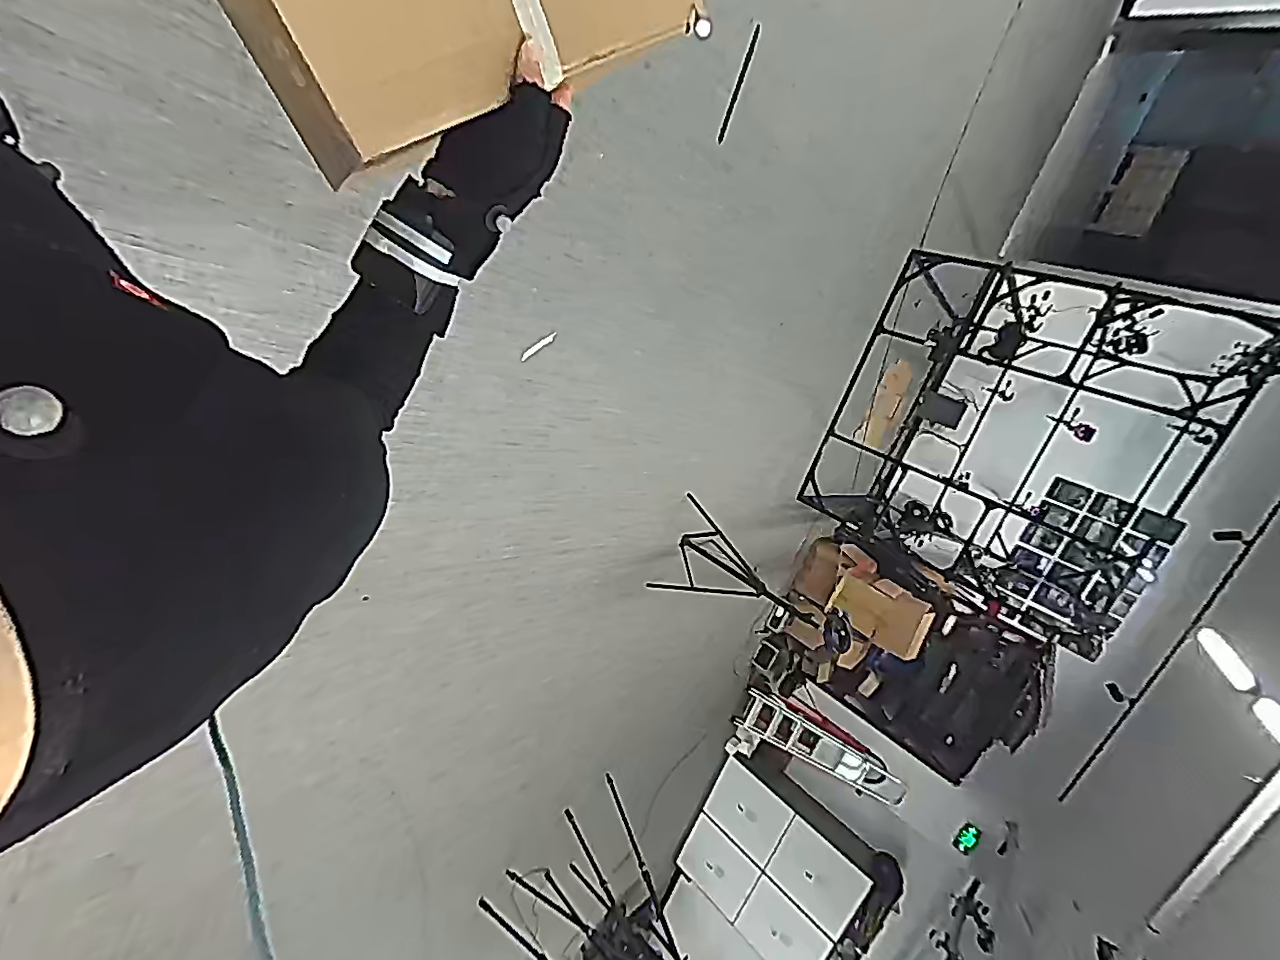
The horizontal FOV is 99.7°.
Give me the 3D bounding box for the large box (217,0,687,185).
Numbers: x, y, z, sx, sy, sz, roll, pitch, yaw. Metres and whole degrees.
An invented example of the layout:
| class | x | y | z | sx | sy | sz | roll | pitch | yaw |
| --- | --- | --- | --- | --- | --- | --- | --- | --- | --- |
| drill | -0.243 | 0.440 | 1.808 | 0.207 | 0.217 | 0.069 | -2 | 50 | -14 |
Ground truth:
| class | x | y | z | sx | sy | sz | roll | pitch | yaw |
| --- | --- | --- | --- | --- | --- | --- | --- | --- | --- |
| large box | -0.223 | -0.517 | 0.435 | 0.320 | 0.320 | 0.408 | -35 | 125 | -15 |
